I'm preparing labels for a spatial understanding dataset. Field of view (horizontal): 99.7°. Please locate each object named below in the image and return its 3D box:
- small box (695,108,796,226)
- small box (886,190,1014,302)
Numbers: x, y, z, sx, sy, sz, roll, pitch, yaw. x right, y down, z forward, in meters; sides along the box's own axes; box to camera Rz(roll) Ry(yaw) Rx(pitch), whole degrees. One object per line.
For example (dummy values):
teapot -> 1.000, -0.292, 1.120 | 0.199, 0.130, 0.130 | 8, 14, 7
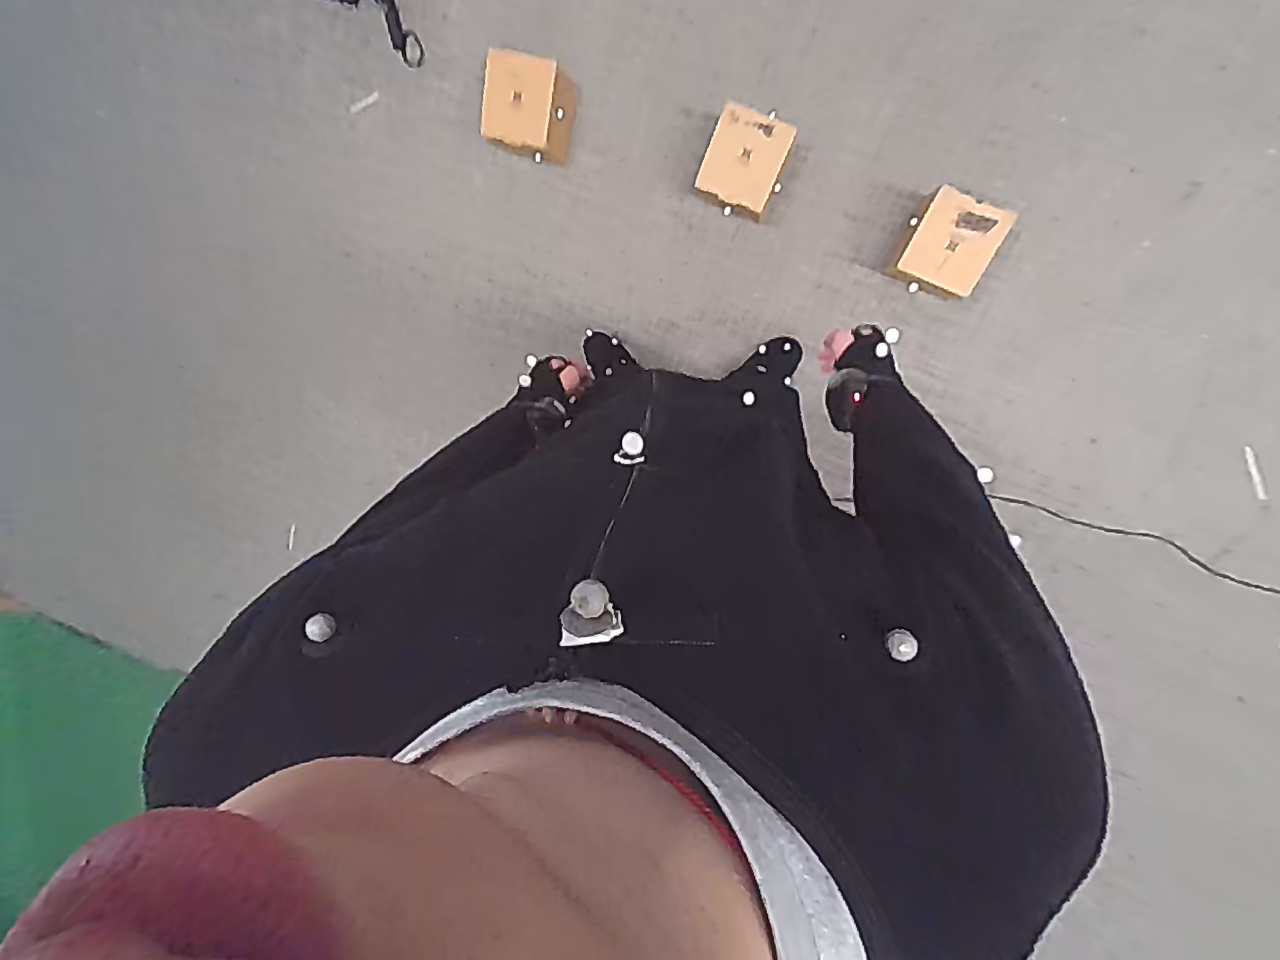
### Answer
small box -> 0.246, -0.712, 1.254 | 0.168, 0.176, 0.179 | 25, 110, 4
small box -> 0.678, -0.515, 1.211 | 0.168, 0.176, 0.179 | 26, 112, 5
